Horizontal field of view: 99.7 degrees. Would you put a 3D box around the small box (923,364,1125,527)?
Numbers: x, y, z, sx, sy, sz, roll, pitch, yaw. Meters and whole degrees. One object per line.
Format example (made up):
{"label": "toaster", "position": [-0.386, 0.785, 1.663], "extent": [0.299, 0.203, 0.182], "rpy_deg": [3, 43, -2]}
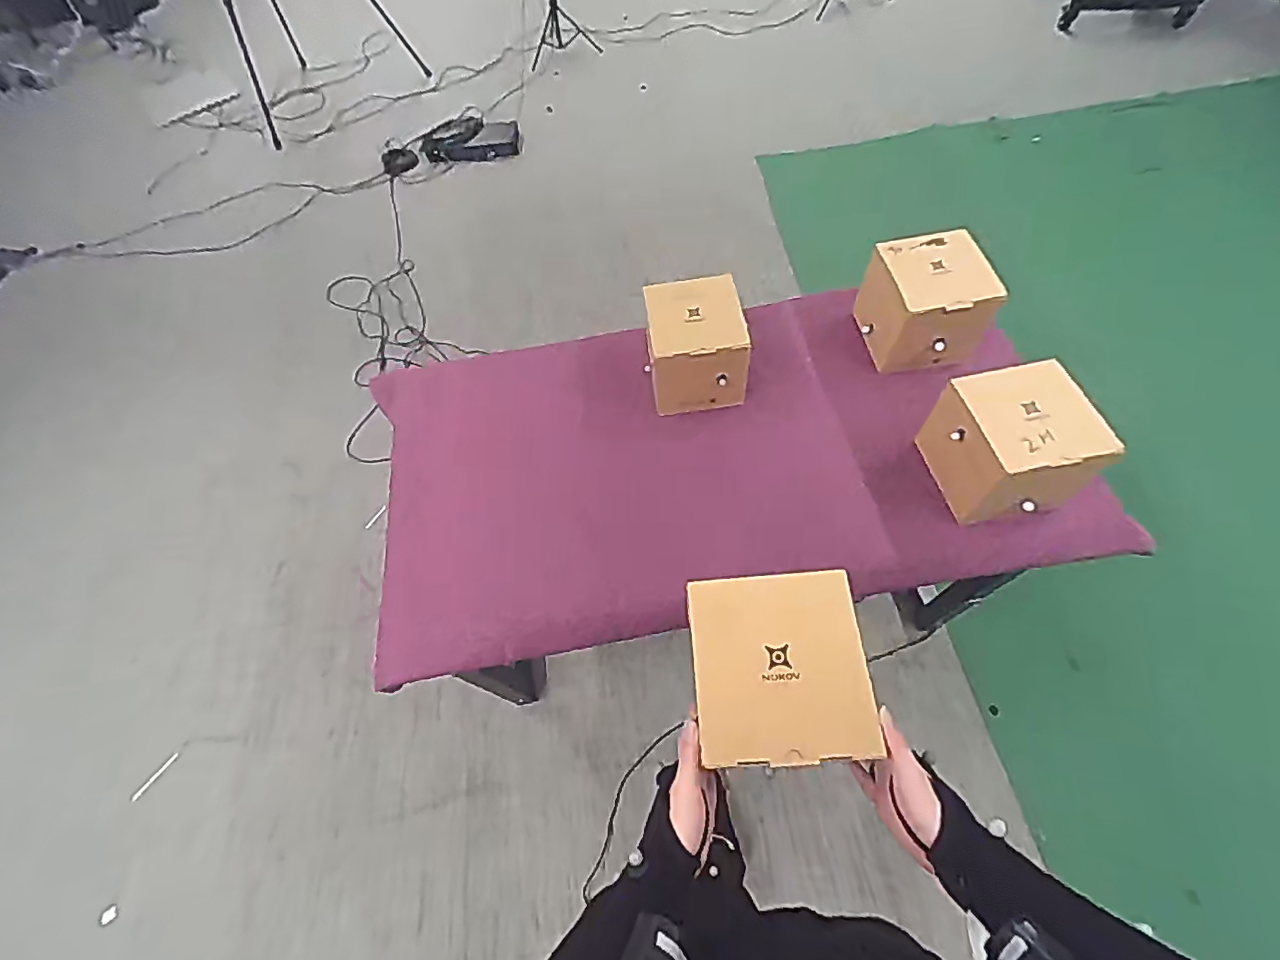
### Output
{"label": "small box", "position": [0.577, -0.049, 0.847], "extent": [0.168, 0.176, 0.179], "rpy_deg": [-11, 59, 2]}

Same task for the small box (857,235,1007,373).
{"label": "small box", "position": [0.529, -0.317, 1.007], "extent": [0.168, 0.176, 0.179], "rpy_deg": [-9, 62, 1]}

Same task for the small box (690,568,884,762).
{"label": "small box", "position": [0.143, 0.210, 0.597], "extent": [0.168, 0.176, 0.179], "rpy_deg": [-5, 63, 5]}

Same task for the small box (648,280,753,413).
{"label": "small box", "position": [0.109, -0.240, 1.011], "extent": [0.168, 0.176, 0.179], "rpy_deg": [-7, 60, 1]}
